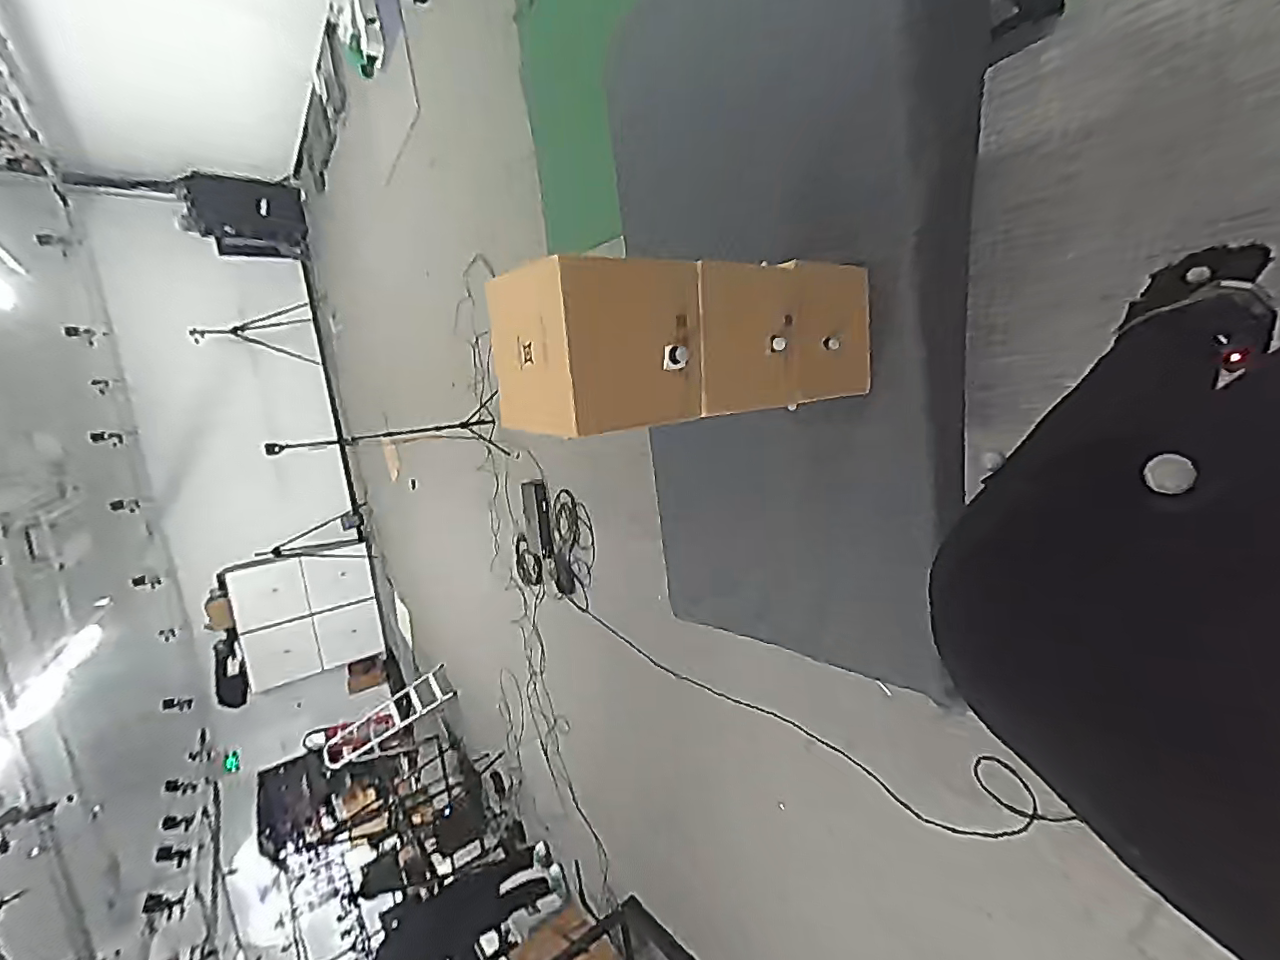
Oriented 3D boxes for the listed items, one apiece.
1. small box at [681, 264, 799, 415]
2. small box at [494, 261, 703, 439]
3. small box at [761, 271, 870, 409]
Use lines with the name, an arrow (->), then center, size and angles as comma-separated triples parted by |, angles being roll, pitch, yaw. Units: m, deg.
small box -> 0.085, -0.173, 0.707 | 0.179, 0.176, 0.168 | 8, 107, 55
small box -> -0.047, -0.144, 0.617 | 0.179, 0.176, 0.168 | 11, 110, 52
small box -> 0.220, -0.201, 0.797 | 0.168, 0.176, 0.179 | 8, 107, 54
